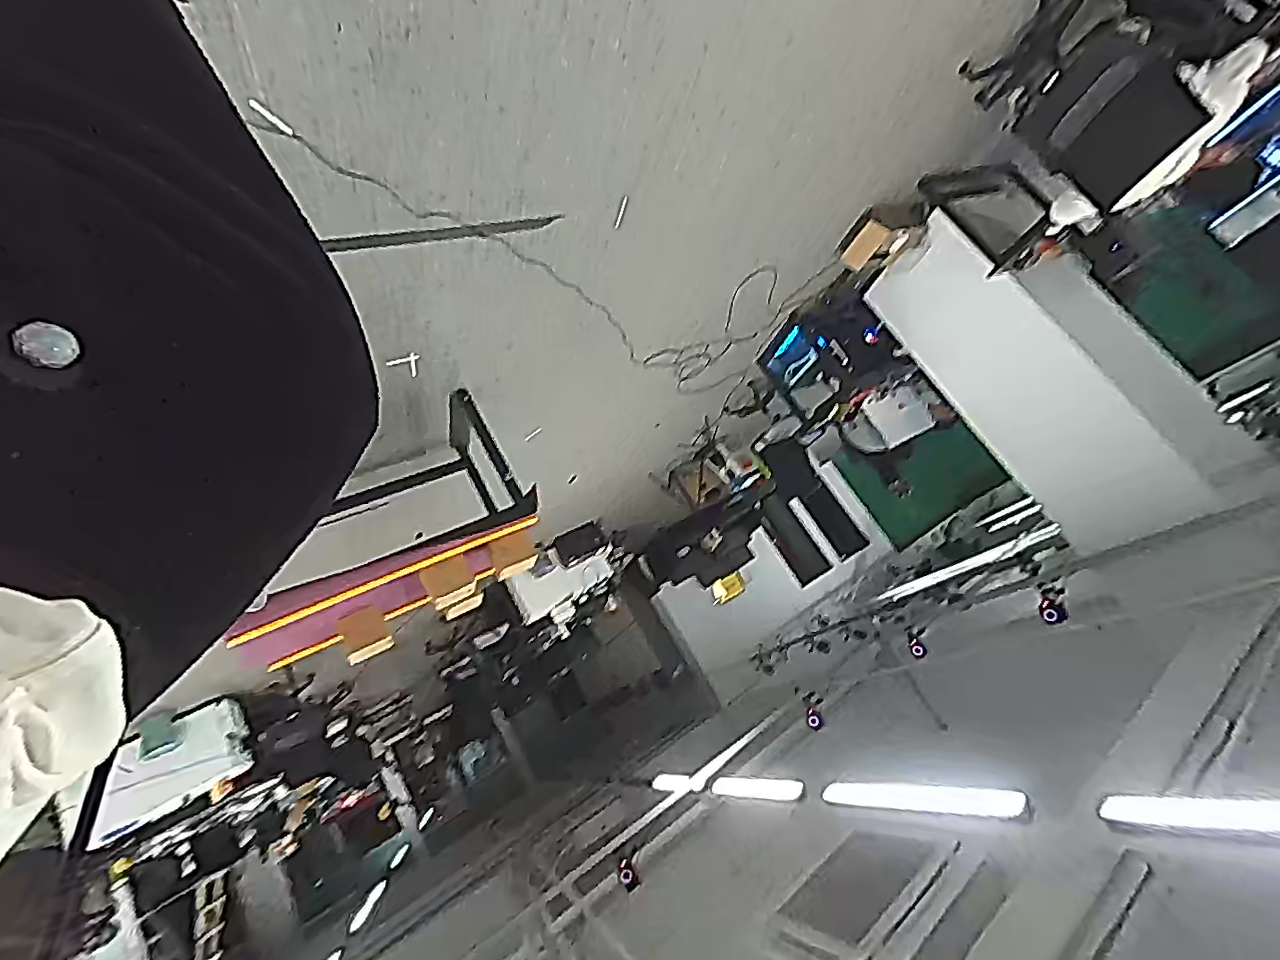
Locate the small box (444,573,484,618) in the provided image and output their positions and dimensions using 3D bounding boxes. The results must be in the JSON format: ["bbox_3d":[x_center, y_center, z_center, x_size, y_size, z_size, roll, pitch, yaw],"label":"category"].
[{"bbox_3d":[-0.865,0.528,2.582,0.168,0.176,0.179,-23,160,-30],"label":"small box"}]

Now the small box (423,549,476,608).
[{"bbox_3d":[-0.827,0.423,2.334,0.179,0.176,0.168,-23,162,-28],"label":"small box"}]

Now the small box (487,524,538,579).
[{"bbox_3d":[-0.589,0.325,2.479,0.179,0.176,0.168,-21,162,-28],"label":"small box"}]

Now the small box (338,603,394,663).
[{"bbox_3d":[-1.206,0.671,2.375,0.179,0.176,0.168,-24,161,-30],"label":"small box"}]
